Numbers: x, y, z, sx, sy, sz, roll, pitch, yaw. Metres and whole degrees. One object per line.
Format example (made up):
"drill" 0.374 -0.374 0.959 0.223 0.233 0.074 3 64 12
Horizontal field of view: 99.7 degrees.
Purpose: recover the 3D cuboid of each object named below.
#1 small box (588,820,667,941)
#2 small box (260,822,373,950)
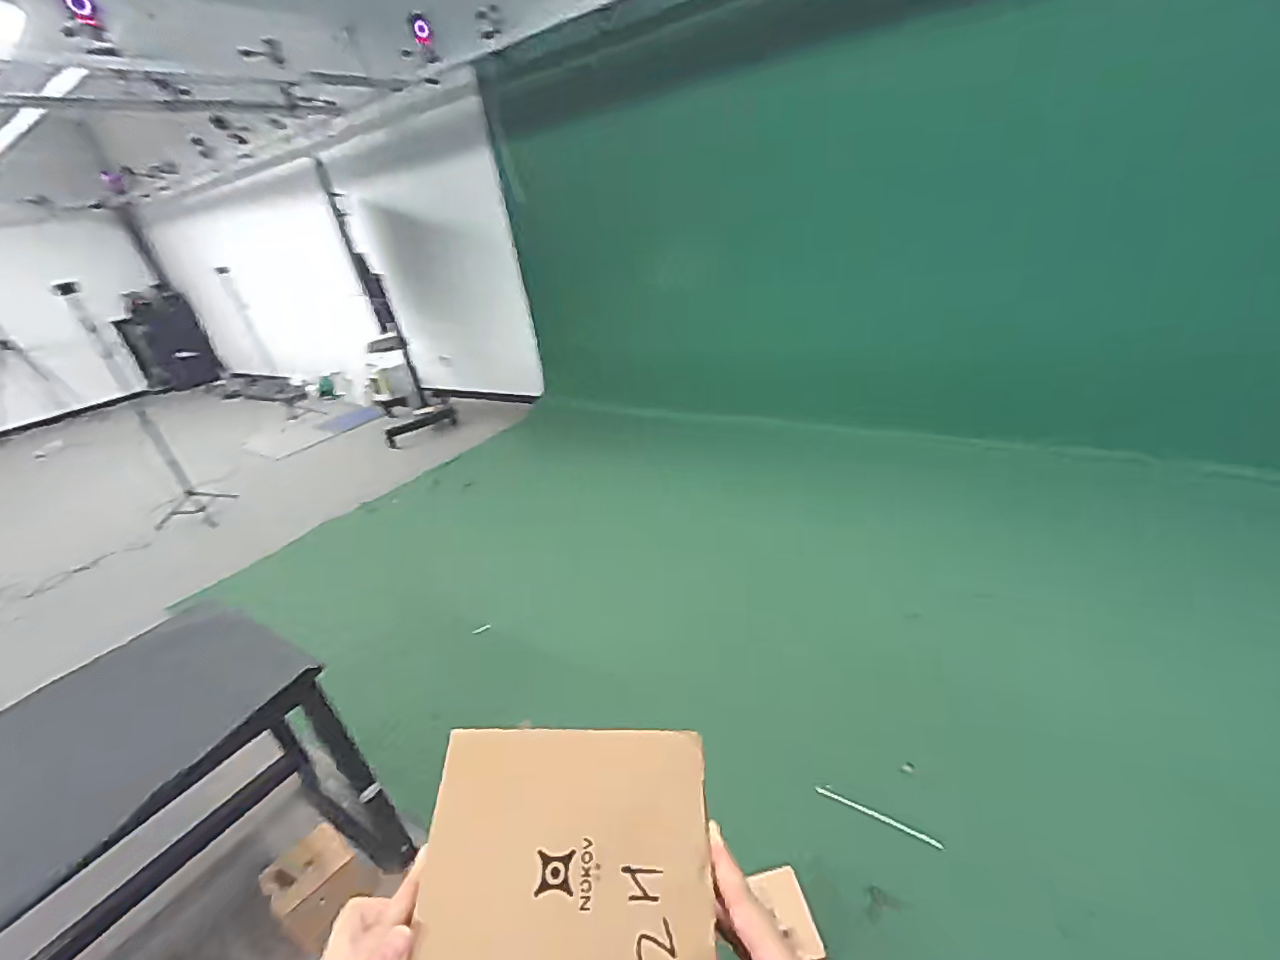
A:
"small box" -0.028 0.974 1.319 0.168 0.176 0.179 -9 28 1
"small box" -0.840 1.059 1.412 0.168 0.176 0.179 14 34 37
